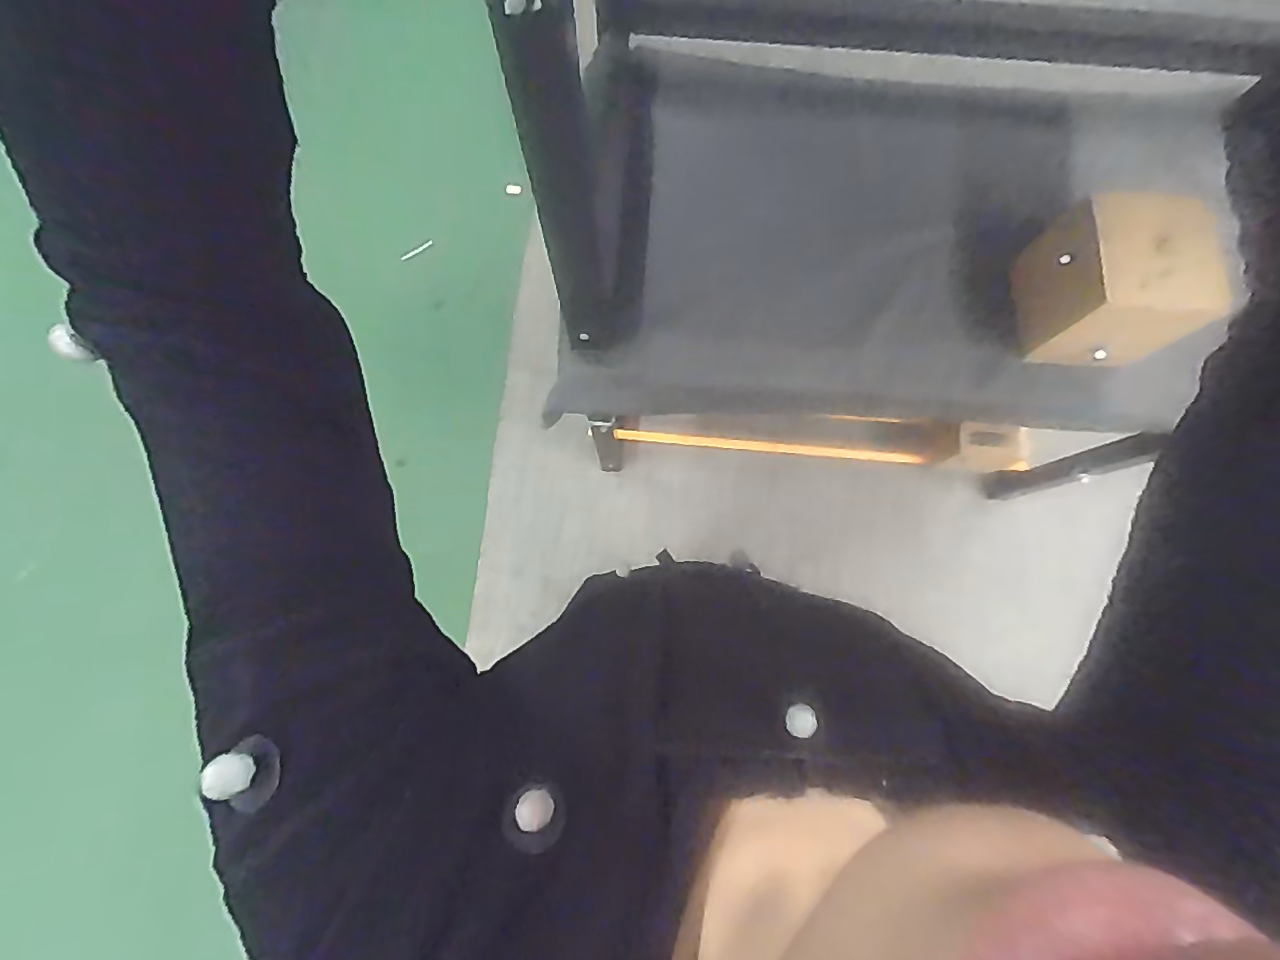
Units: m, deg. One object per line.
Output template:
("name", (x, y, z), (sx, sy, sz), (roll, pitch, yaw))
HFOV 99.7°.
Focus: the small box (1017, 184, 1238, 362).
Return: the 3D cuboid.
("small box", (0.690, -0.294, 0.791), (0.168, 0.176, 0.179), (4, 76, 1))
